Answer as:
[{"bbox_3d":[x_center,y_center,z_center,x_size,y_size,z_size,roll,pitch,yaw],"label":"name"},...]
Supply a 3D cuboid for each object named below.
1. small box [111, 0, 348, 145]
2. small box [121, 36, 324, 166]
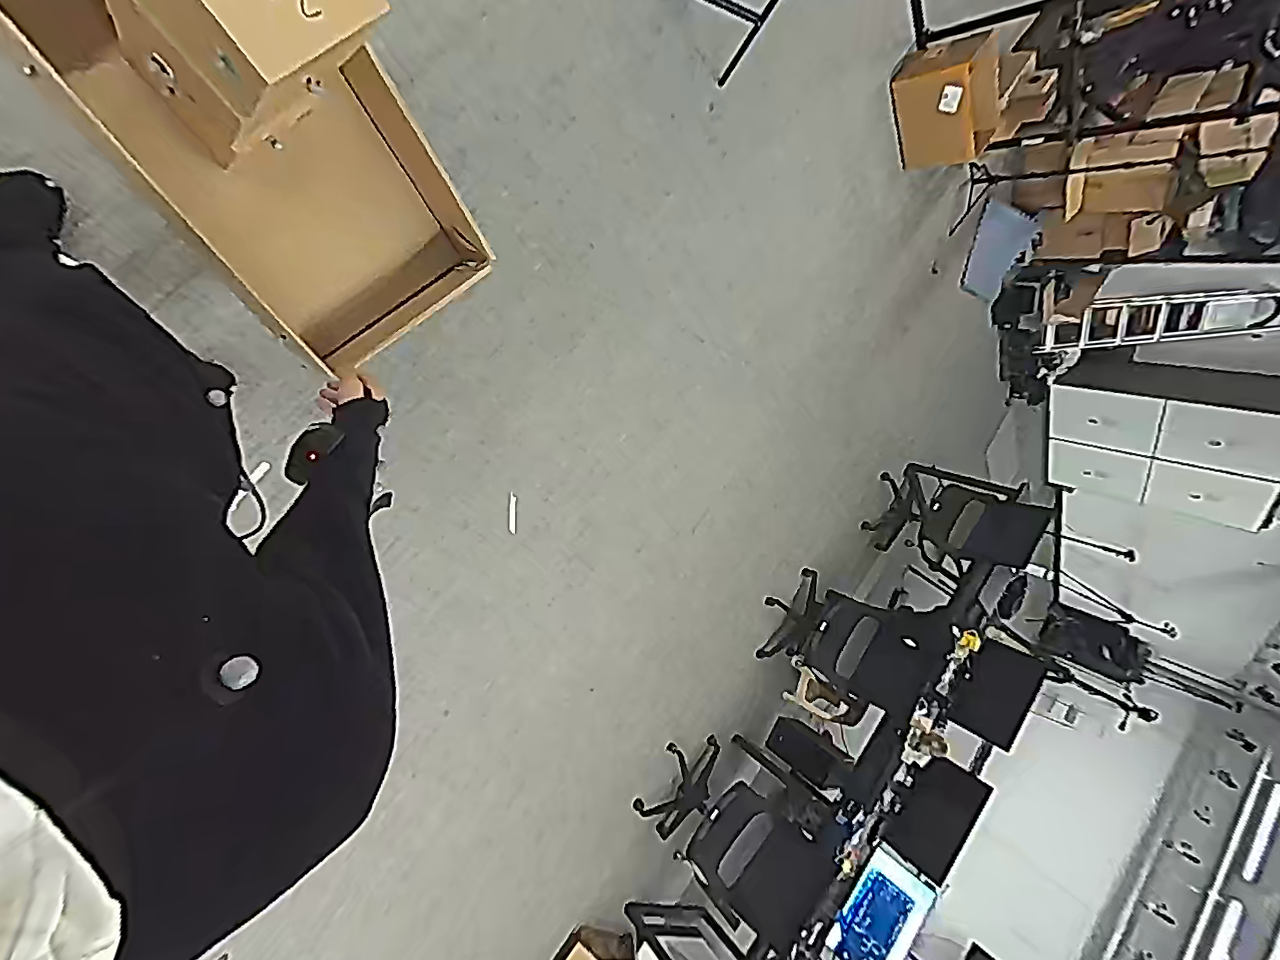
[{"bbox_3d":[-0.520,-0.565,0.687,0.179,0.176,0.168,-51,132,-16],"label":"small box"},{"bbox_3d":[-0.624,-0.603,0.809,0.168,0.176,0.179,-48,133,-17],"label":"small box"}]
